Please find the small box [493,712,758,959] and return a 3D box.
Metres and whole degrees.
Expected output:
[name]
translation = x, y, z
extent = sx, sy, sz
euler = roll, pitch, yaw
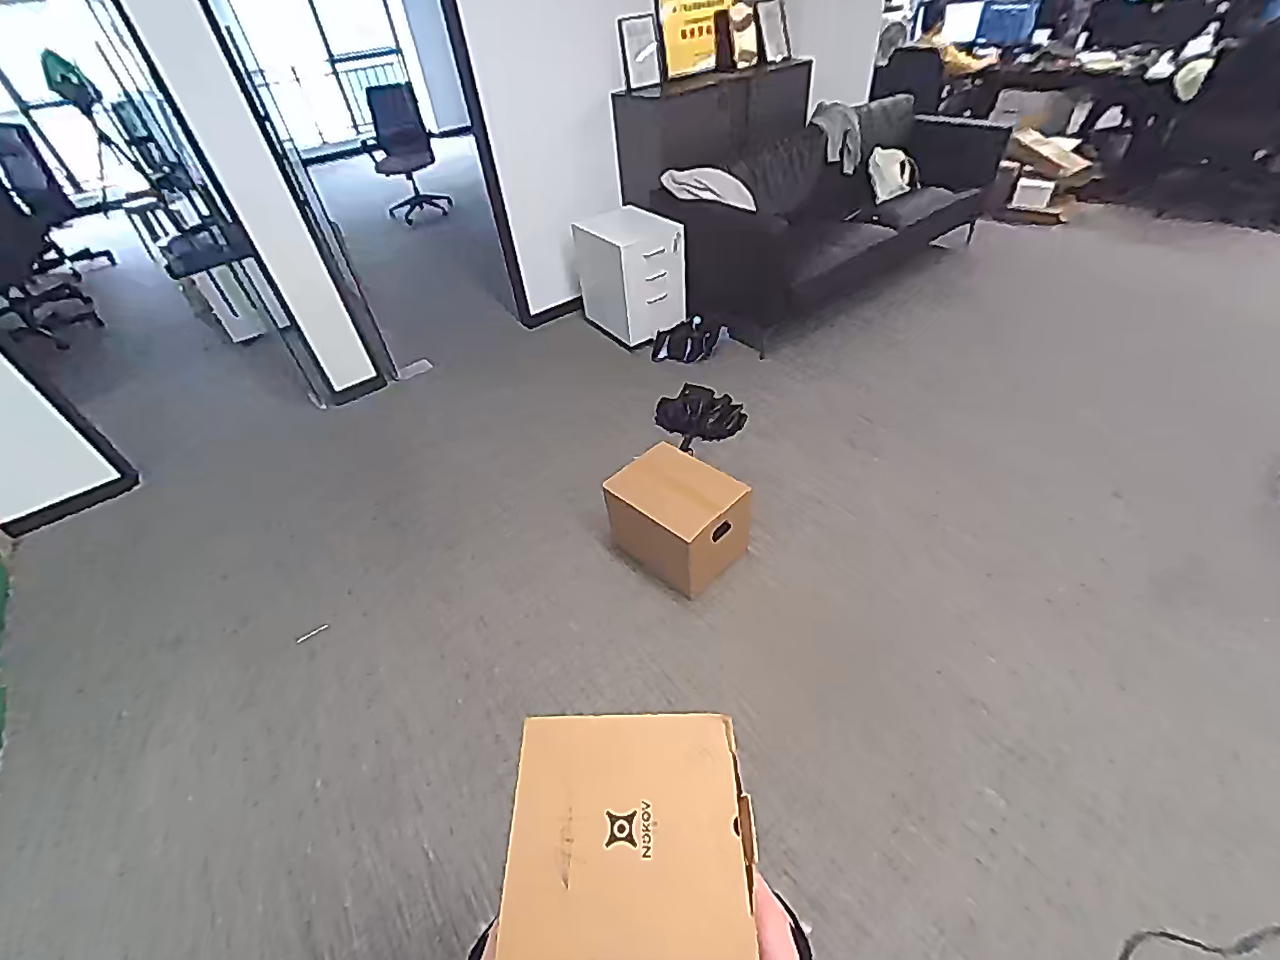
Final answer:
[small box]
translation = -0.007, 0.311, 0.461
extent = 0.179, 0.176, 0.168
euler = -3, 47, 2
